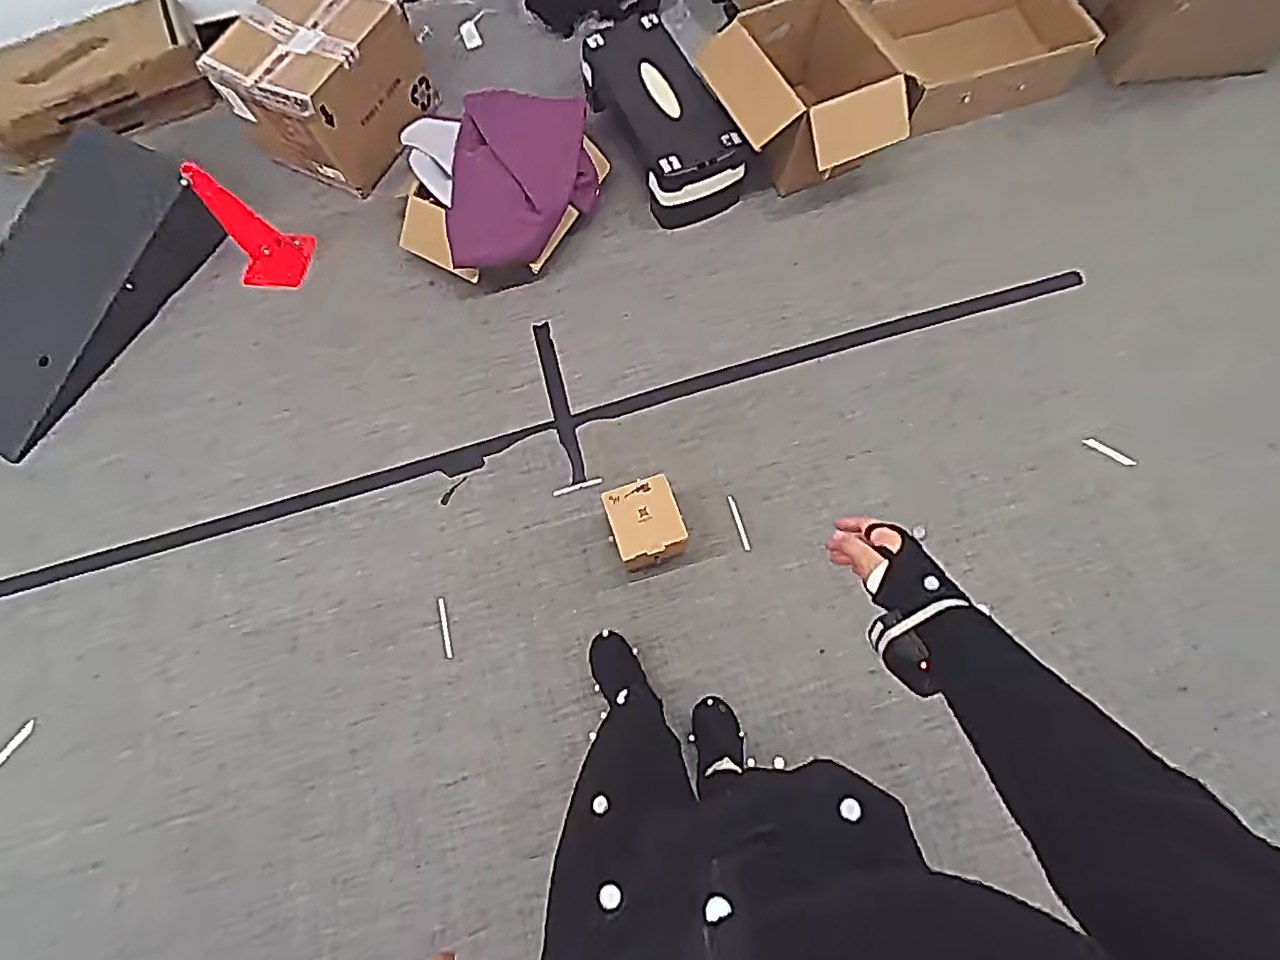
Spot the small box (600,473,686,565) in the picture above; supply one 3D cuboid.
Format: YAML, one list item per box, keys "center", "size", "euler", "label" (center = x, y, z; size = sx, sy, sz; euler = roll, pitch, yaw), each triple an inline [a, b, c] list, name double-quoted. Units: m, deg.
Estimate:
- center: [0.010, 0.105, 1.346]
  size: [0.168, 0.176, 0.179]
  euler: [-18, 74, -4]
  label: "small box"
